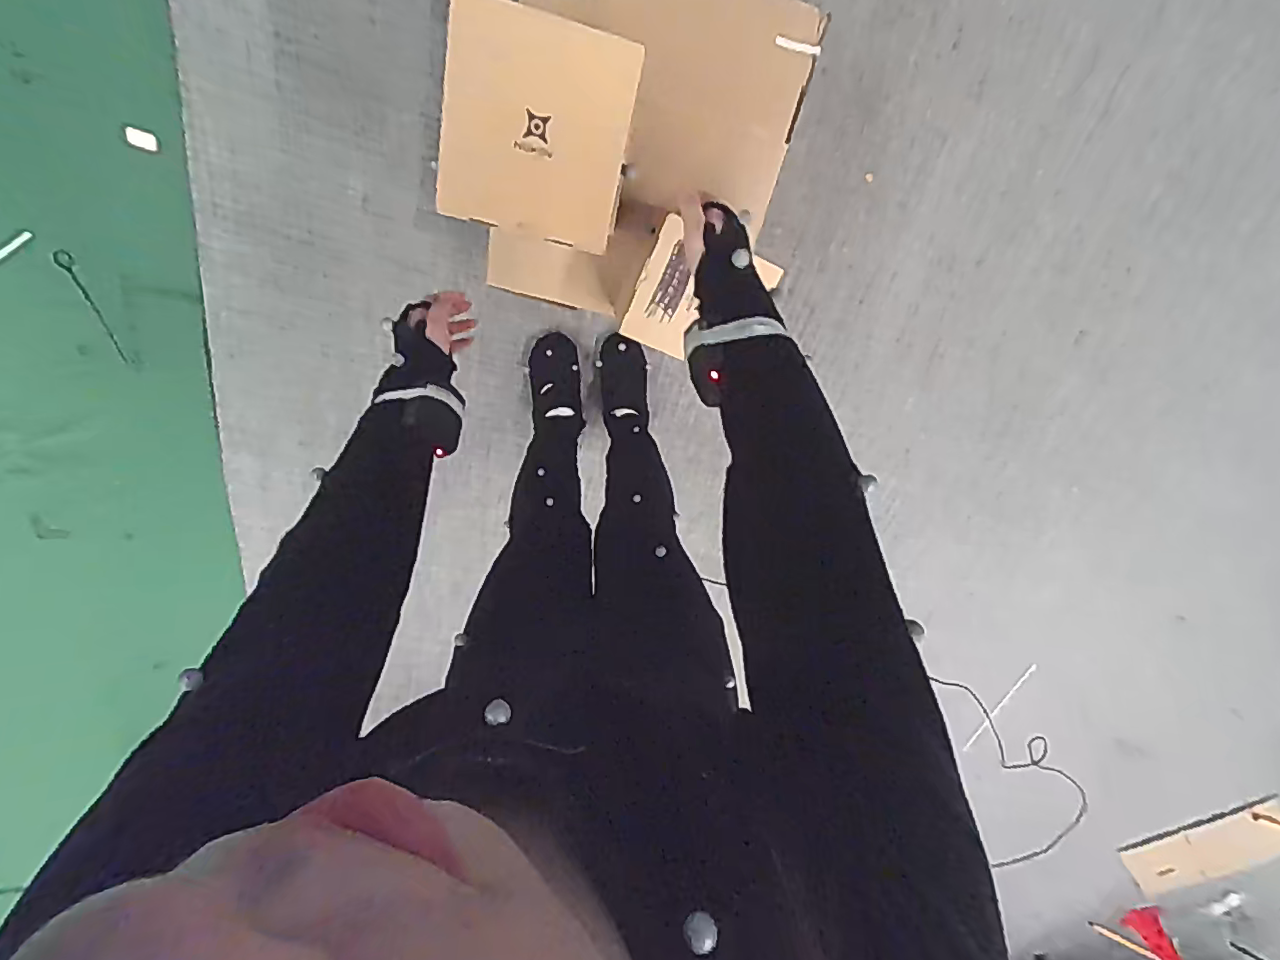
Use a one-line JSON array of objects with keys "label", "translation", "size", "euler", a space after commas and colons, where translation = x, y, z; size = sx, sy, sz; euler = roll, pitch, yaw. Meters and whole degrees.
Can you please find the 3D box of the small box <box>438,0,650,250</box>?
[{"label": "small box", "translation": [-0.096, -0.358, 0.557], "size": [0.168, 0.176, 0.179], "euler": [12, 118, -10]}]
